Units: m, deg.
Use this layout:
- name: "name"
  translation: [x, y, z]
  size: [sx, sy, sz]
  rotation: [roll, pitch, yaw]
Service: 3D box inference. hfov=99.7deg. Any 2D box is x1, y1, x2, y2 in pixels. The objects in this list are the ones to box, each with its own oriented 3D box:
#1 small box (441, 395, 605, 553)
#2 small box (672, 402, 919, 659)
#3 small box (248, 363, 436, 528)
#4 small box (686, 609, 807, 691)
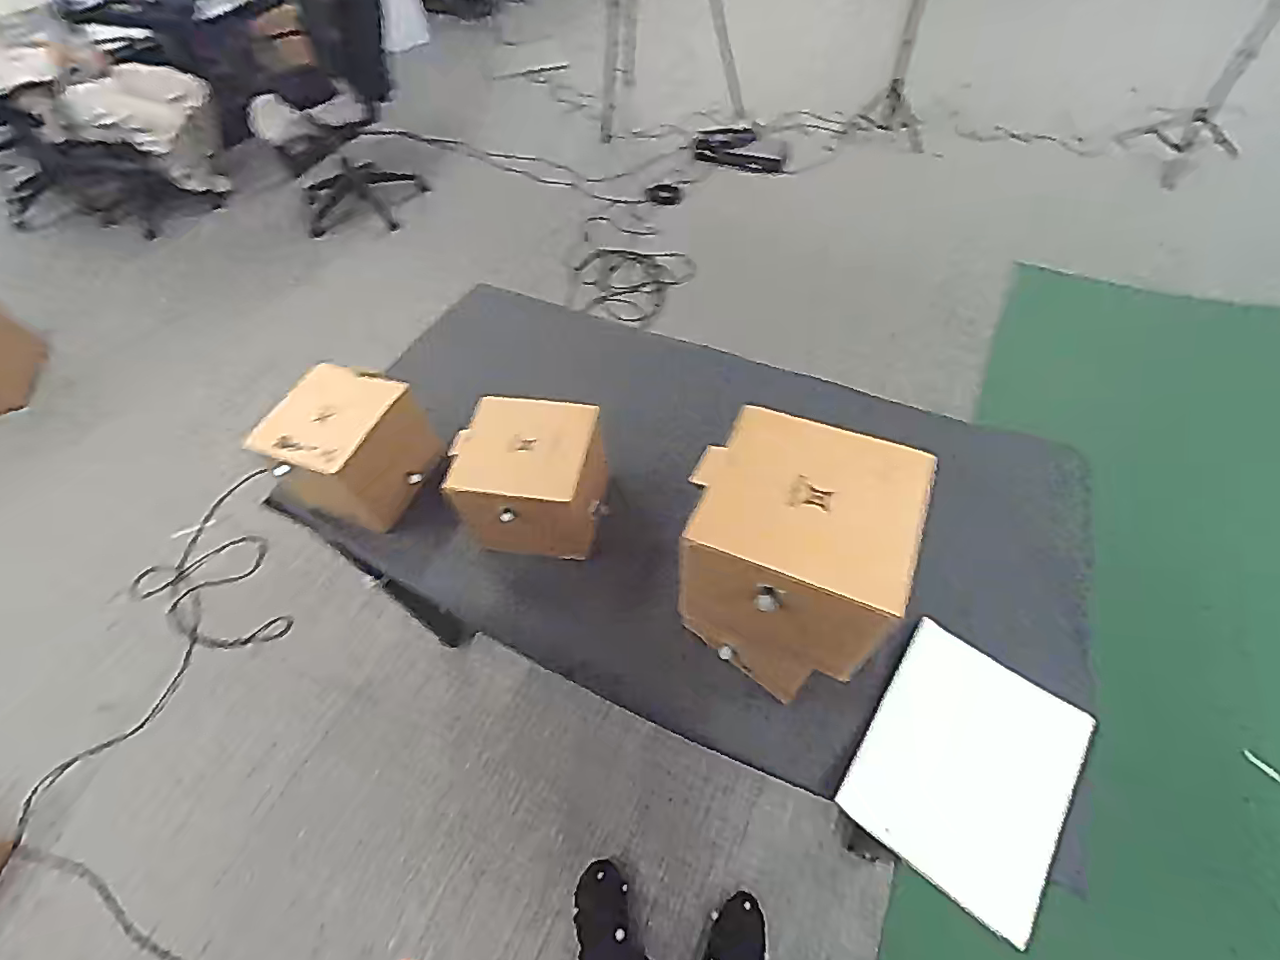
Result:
- name: "small box"
  translation: [-0.159, -0.005, 0.805]
  size: [0.179, 0.176, 0.168]
  rotation: [6, 56, 8]
- name: "small box"
  translation: [0.144, 0.056, 0.534]
  size: [0.179, 0.176, 0.168]
  rotation: [18, 58, 17]
- name: "small box"
  translation: [-0.453, -0.053, 0.861]
  size: [0.168, 0.176, 0.179]
  rotation: [15, 58, 15]
- name: "small box"
  translation: [0.165, 0.129, 0.680]
  size: [0.168, 0.176, 0.179]
  rotation: [34, 65, 26]
